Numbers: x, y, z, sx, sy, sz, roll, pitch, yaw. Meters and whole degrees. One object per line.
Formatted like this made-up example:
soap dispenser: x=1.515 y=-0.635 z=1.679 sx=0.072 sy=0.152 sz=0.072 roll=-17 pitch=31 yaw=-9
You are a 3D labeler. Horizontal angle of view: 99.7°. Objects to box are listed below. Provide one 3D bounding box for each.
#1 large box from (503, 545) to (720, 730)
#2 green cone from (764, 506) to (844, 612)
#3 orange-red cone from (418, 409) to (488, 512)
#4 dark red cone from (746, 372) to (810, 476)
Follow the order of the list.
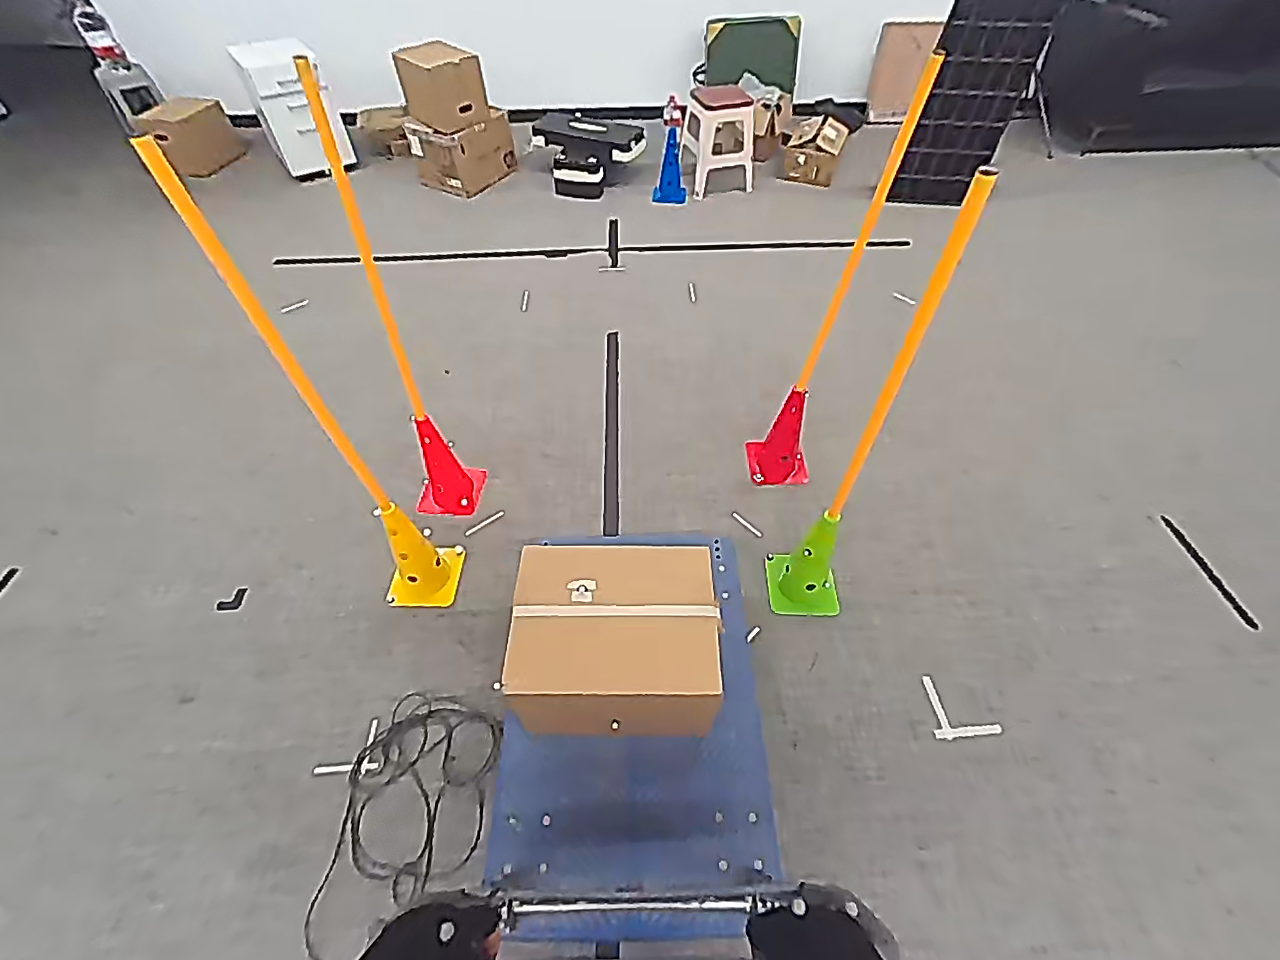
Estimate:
large box: x=-0.050 y=0.354 z=1.190 sx=0.408 sy=0.320 sz=0.320 roll=0 pitch=51 yaw=1
green cone: x=0.486 y=0.196 z=1.502 sx=0.202 sy=0.368 sz=0.200 roll=2 pitch=51 yaw=0
orange-red cone: x=-0.636 y=-0.086 z=1.727 sx=0.198 sy=0.360 sz=0.199 roll=5 pitch=50 yaw=3
dark red cone: x=0.491 y=-0.193 z=1.791 sx=0.201 sy=0.394 sz=0.202 roll=0 pitch=52 yaw=-3
